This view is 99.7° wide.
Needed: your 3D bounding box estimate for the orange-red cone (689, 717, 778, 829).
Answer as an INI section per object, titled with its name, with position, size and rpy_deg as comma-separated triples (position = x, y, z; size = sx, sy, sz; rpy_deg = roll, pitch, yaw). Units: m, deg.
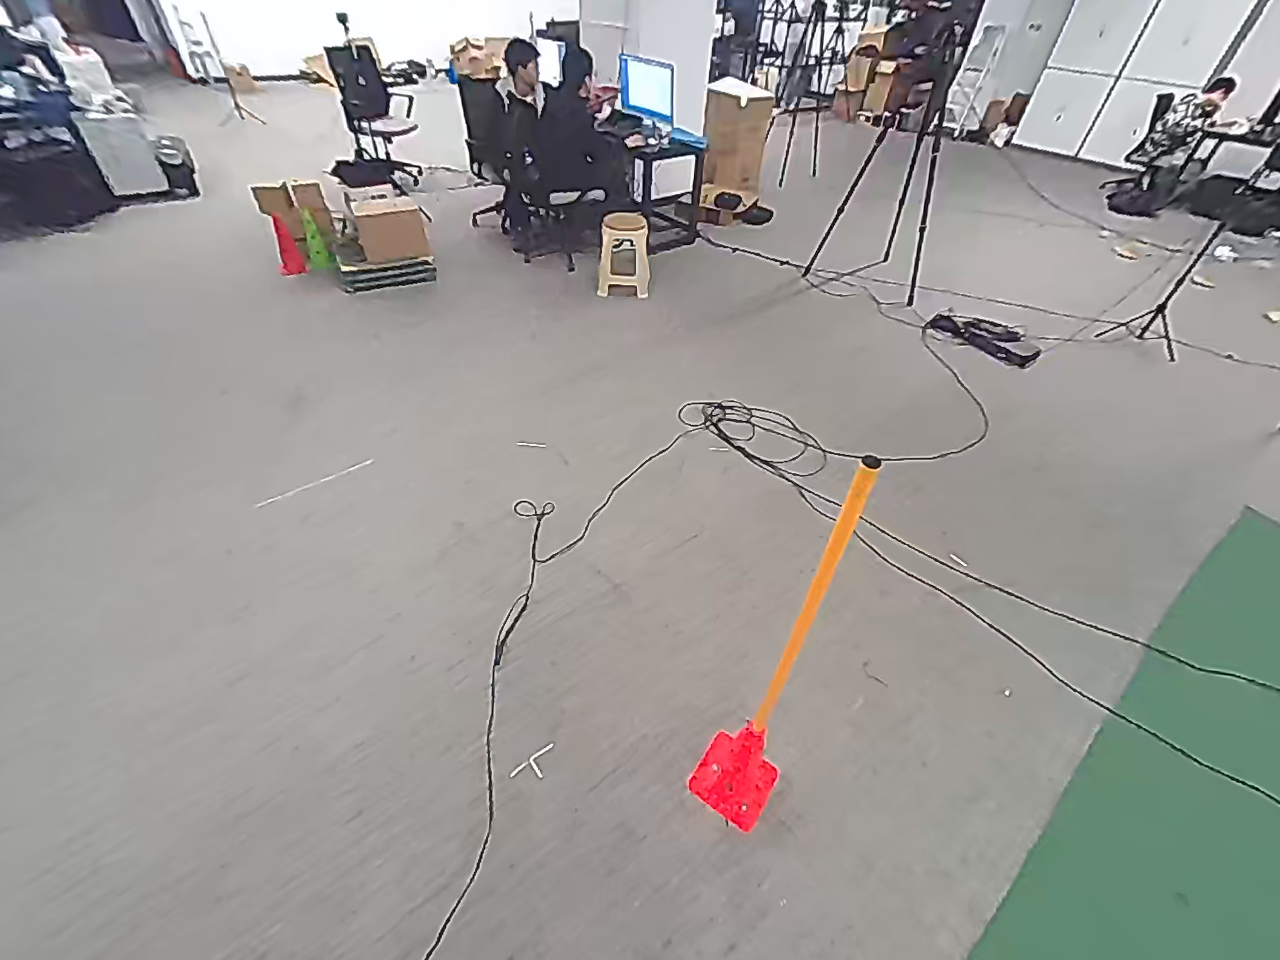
[orange-red cone]
position = 0.271, 0.702, 1.389
size = 0.198, 0.360, 0.199
rpy_deg = 29, 48, 24
